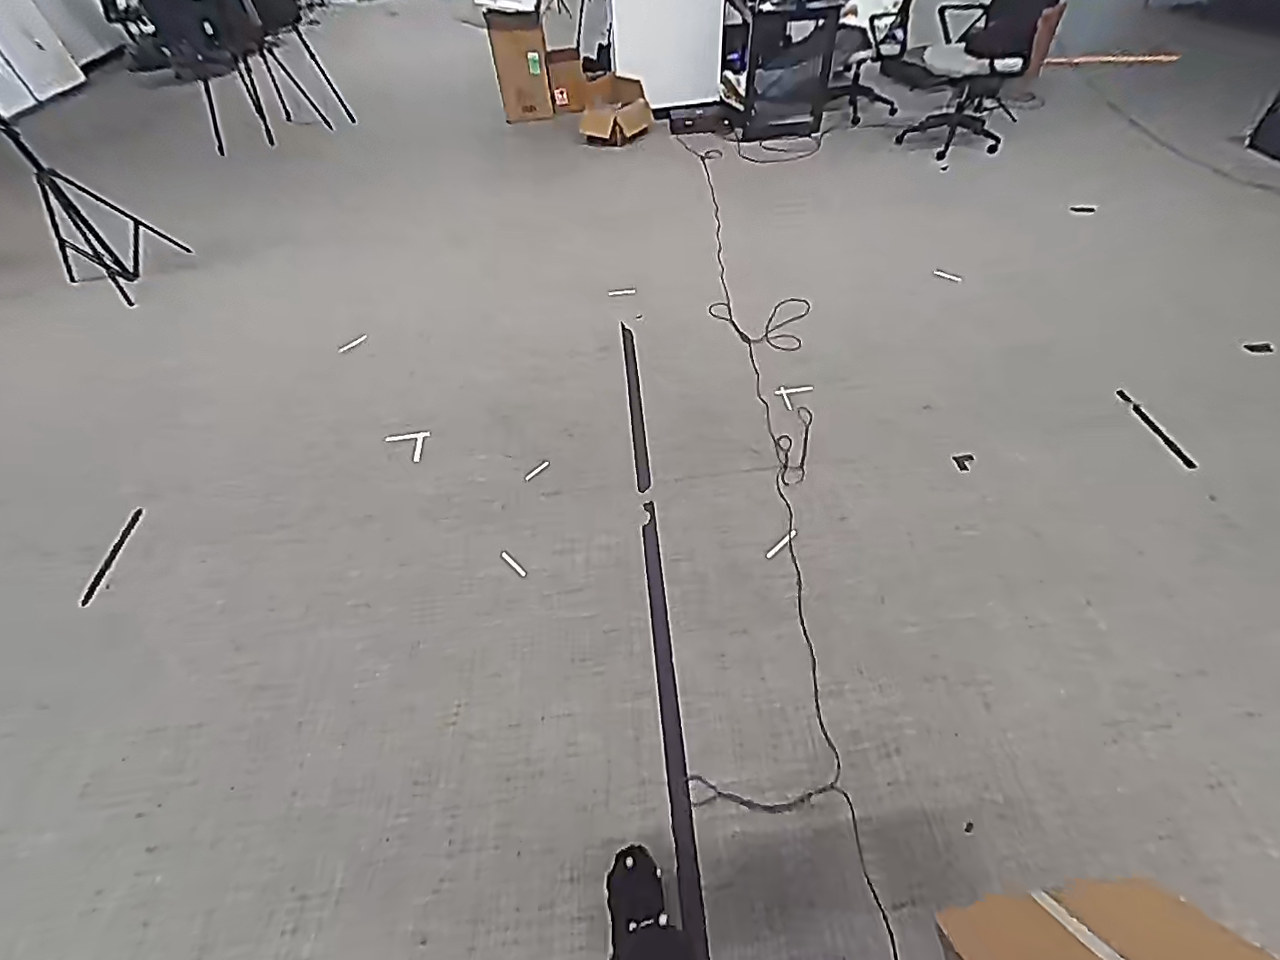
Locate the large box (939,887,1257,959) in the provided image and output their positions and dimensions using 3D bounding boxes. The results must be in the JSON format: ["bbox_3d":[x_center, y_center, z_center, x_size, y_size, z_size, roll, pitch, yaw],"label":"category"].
[{"bbox_3d":[0.604,0.731,0.575,0.320,0.408,0.320,-14,77,2],"label":"large box"}]
